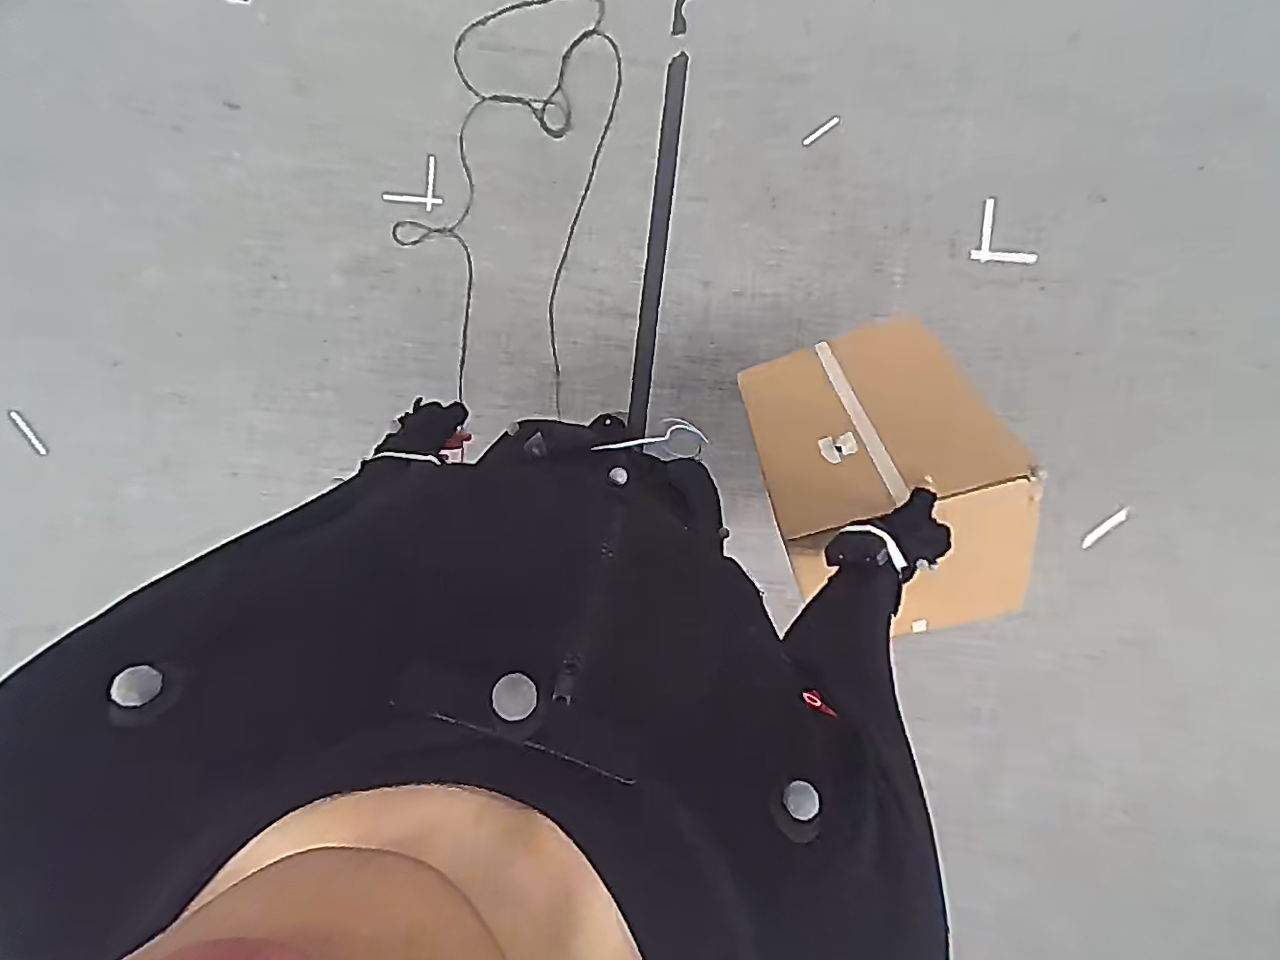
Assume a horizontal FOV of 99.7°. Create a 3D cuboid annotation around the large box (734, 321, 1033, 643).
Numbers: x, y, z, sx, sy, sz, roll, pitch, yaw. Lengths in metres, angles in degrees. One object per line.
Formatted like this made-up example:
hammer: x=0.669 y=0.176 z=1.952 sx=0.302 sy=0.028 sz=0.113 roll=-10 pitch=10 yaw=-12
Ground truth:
large box: x=0.379 y=0.002 z=0.924 sx=0.320 sy=0.408 sz=0.320 roll=-18 pitch=133 yaw=14
